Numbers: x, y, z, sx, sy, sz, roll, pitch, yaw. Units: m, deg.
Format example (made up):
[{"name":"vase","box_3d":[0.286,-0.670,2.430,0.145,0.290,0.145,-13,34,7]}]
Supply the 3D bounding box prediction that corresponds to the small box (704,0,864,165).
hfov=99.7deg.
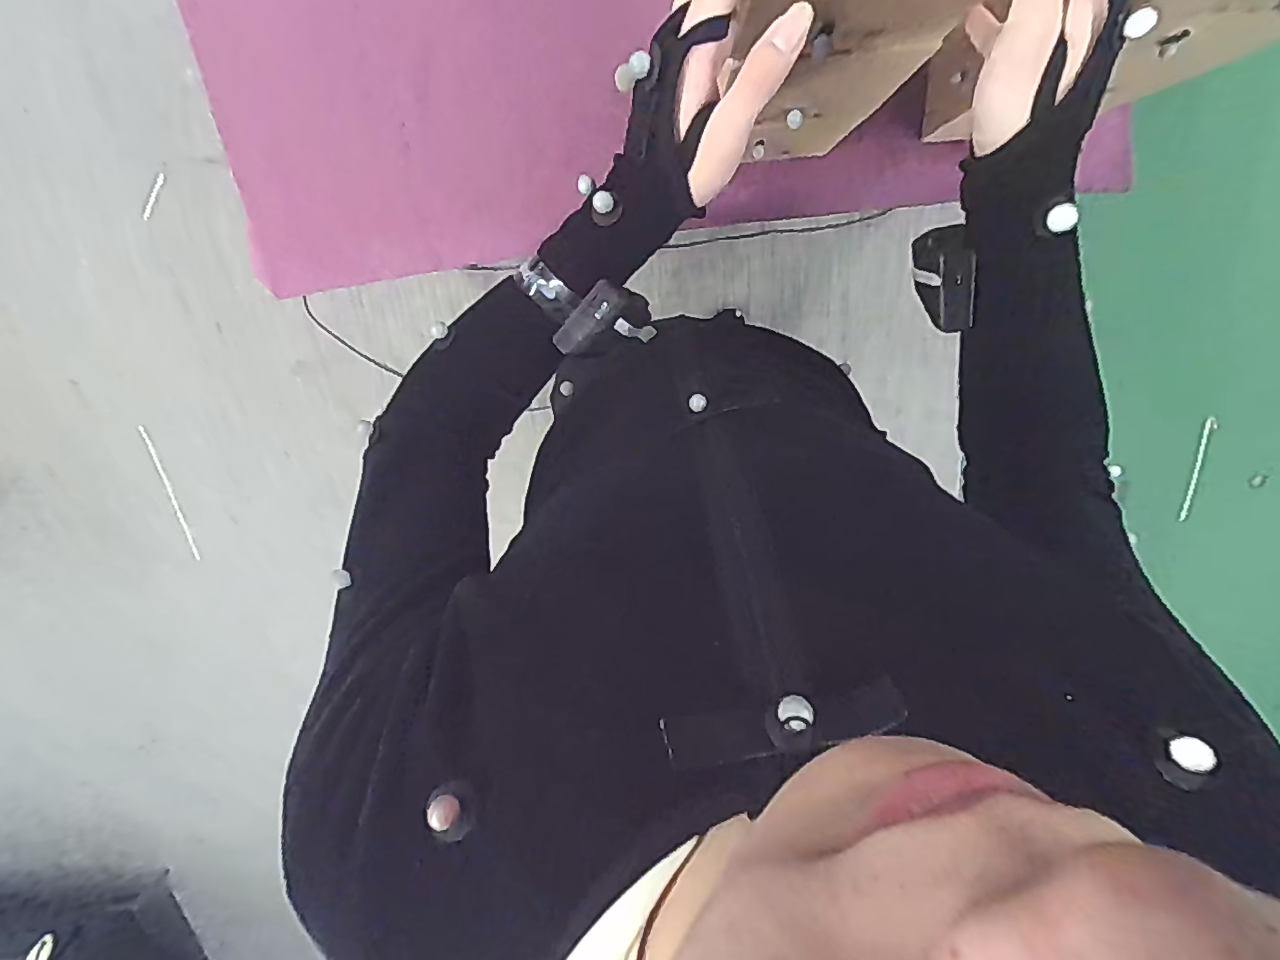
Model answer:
[{"name":"small box","box_3d":[0.161,-0.484,0.630,0.168,0.176,0.179,-2,107,5]}]

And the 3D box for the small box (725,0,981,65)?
[{"name":"small box","box_3d":[0.137,-0.383,0.314,0.168,0.176,0.179,-2,109,5]}]

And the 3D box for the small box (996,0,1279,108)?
[{"name":"small box","box_3d":[0.432,-0.441,0.448,0.168,0.176,0.179,0,108,5]}]

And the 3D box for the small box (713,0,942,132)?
[{"name":"small box","box_3d":[0.151,-0.434,0.474,0.168,0.176,0.179,-2,108,5]}]

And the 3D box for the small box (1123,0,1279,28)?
[{"name":"small box","box_3d":[0.421,-0.390,0.291,0.168,0.176,0.179,1,109,5]}]
